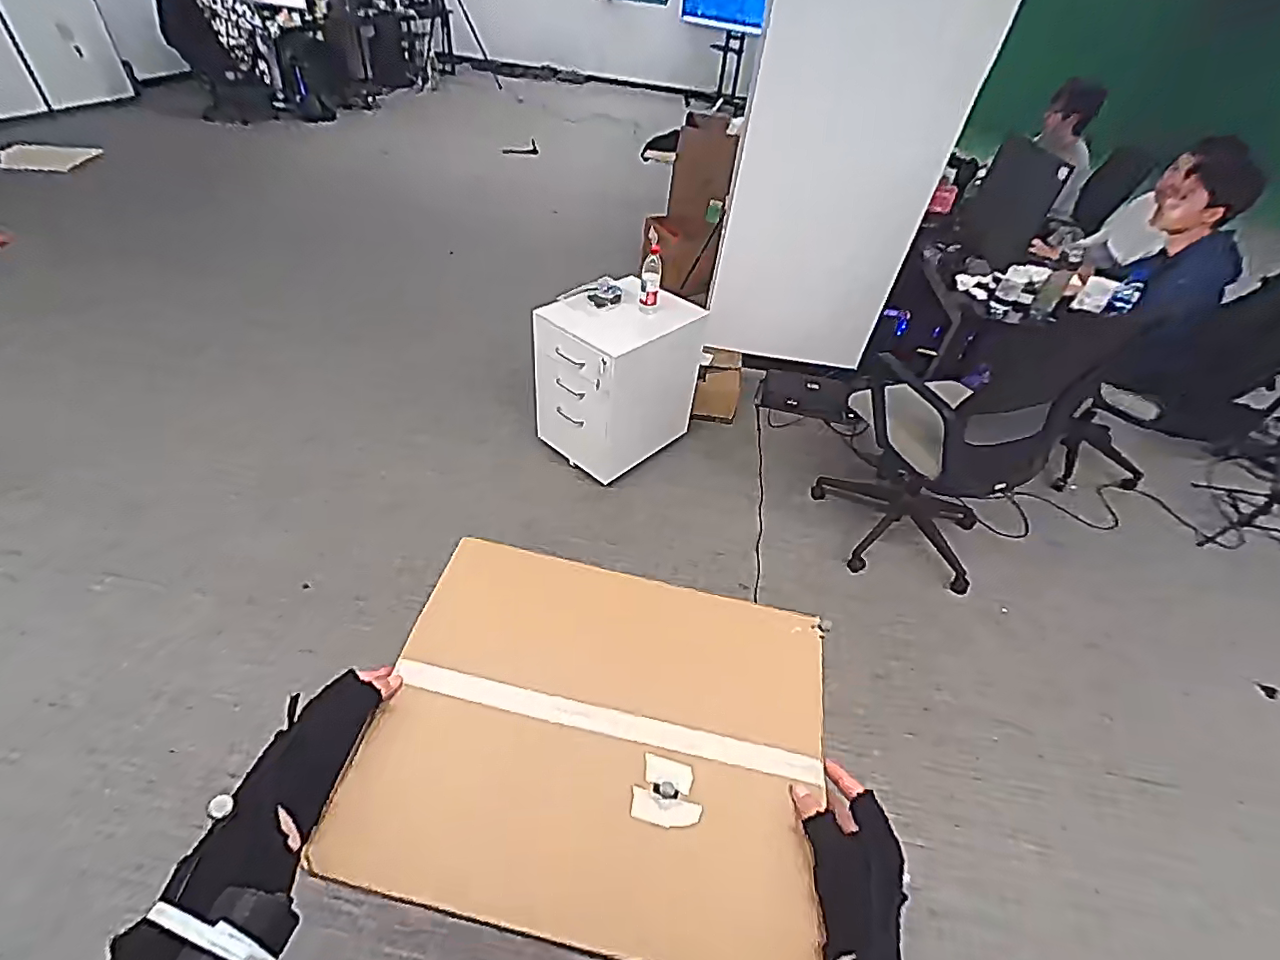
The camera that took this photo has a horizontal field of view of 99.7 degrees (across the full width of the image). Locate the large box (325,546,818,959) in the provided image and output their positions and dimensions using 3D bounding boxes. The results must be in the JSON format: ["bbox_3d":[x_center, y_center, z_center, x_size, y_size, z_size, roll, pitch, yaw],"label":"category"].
[{"bbox_3d":[-0.047,0.322,0.627,0.408,0.320,0.320,13,50,3],"label":"large box"}]
